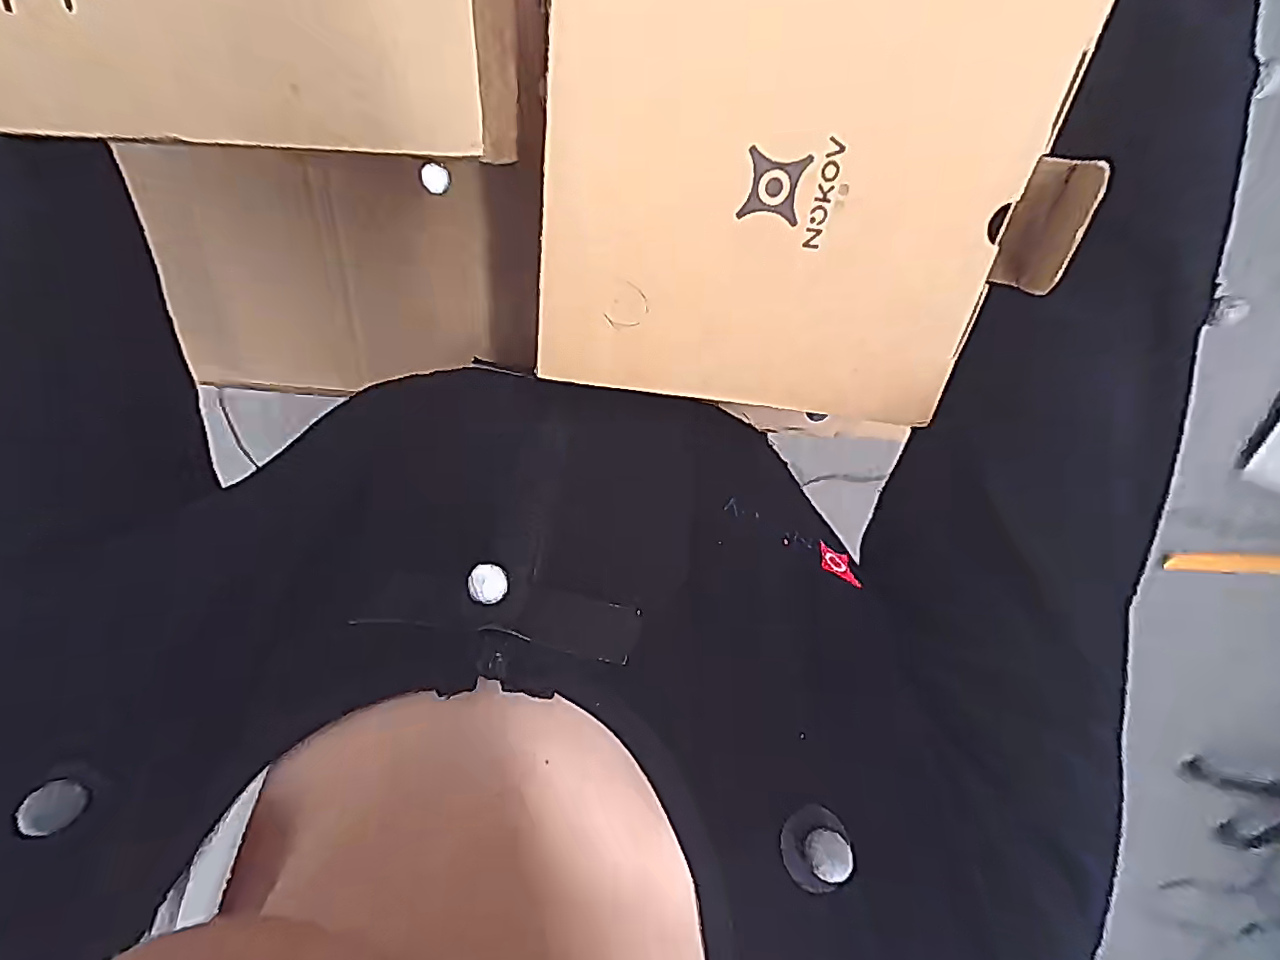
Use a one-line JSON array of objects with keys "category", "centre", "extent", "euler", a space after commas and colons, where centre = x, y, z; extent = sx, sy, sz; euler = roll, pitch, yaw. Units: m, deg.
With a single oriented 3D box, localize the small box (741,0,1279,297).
[{"category": "small box", "centre": [0.159, -0.197, 0.217], "extent": [0.179, 0.176, 0.168], "euler": [17, 125, -9]}]
